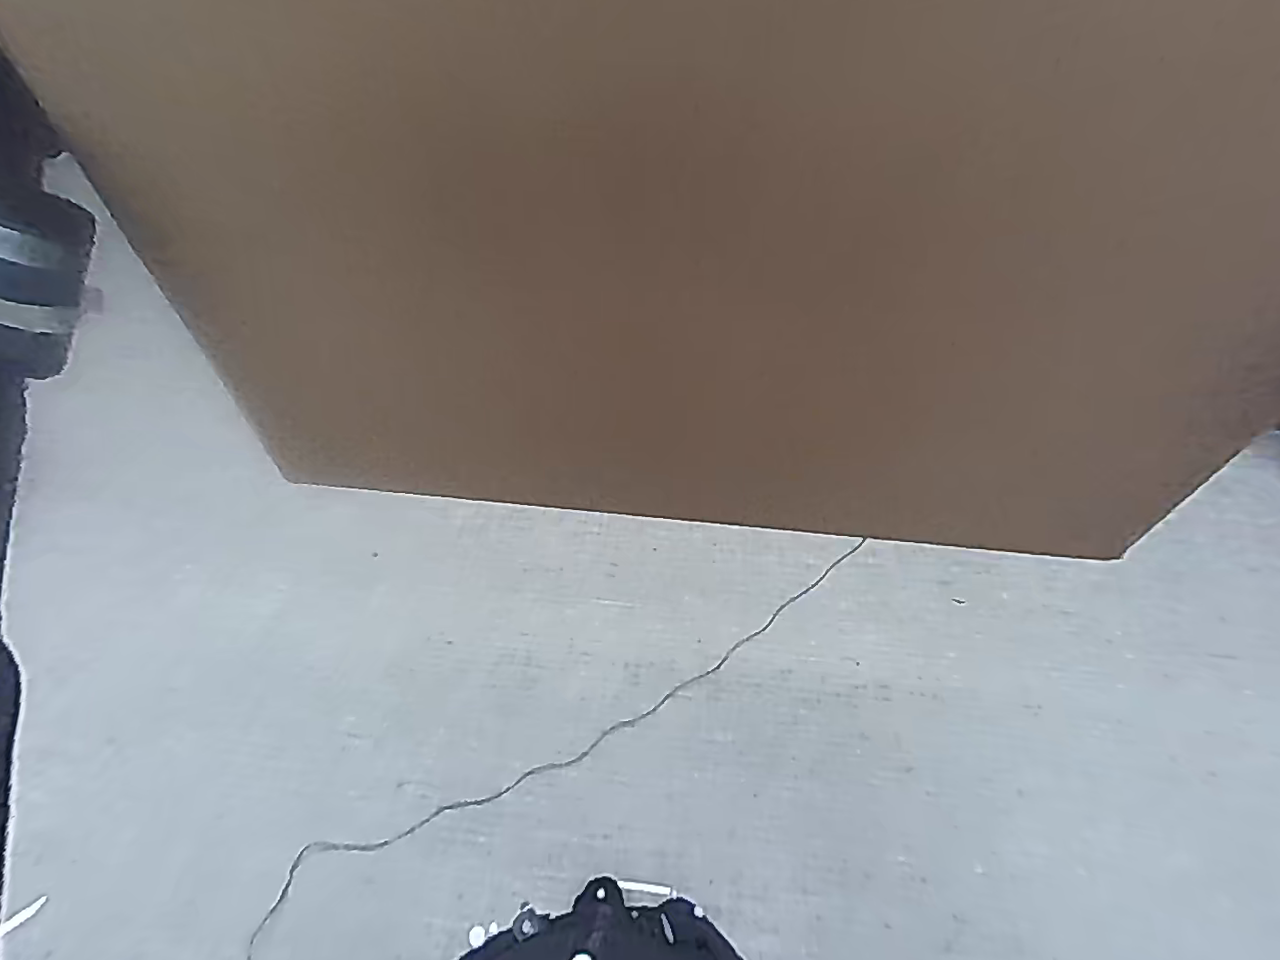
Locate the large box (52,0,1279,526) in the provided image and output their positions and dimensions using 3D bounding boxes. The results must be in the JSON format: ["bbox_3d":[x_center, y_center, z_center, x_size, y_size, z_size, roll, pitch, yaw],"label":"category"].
[{"bbox_3d":[0.041,-0.199,0.270,0.408,0.320,0.320,5,47,2],"label":"large box"}]
